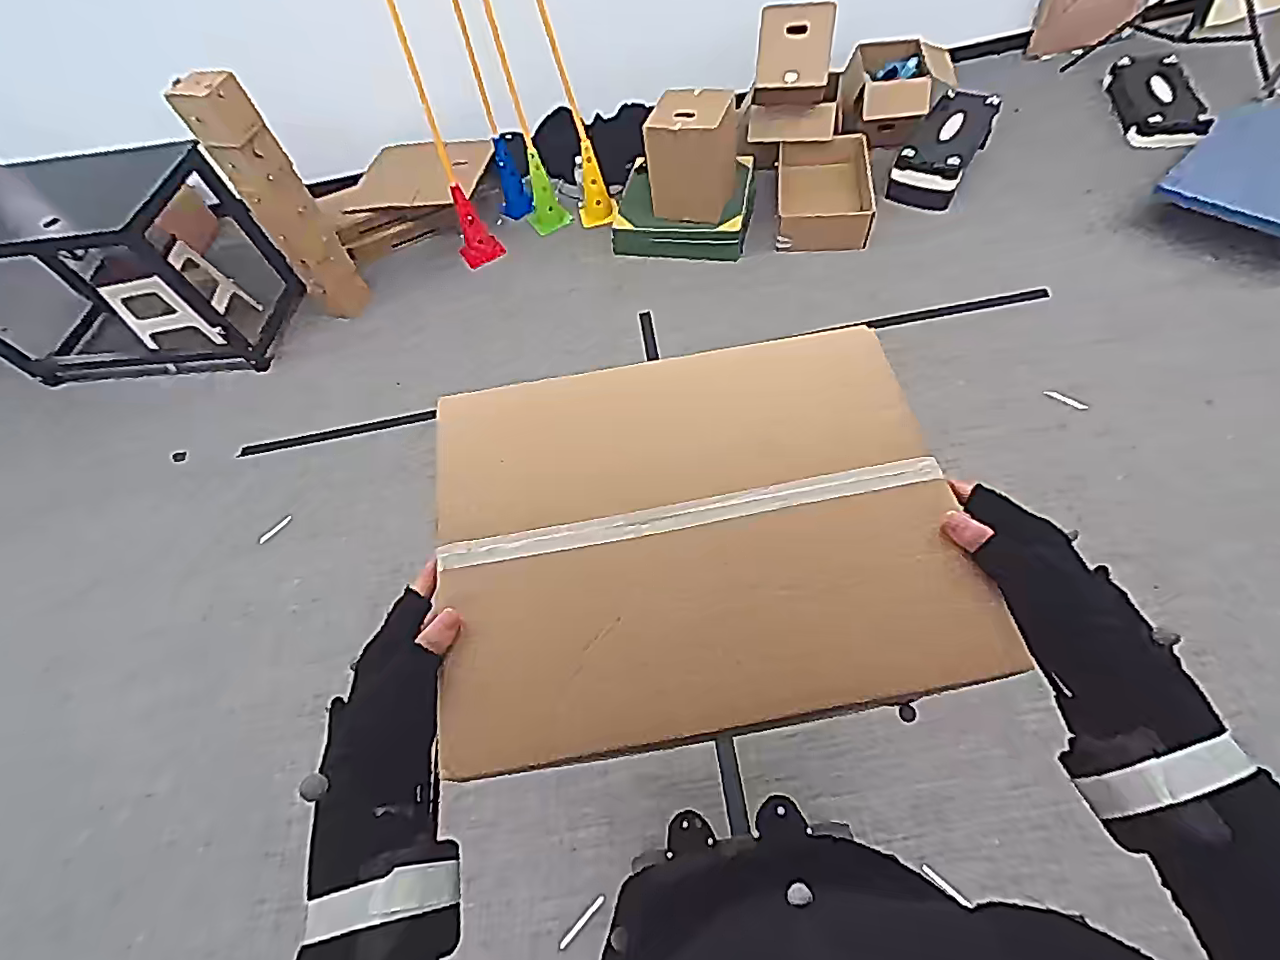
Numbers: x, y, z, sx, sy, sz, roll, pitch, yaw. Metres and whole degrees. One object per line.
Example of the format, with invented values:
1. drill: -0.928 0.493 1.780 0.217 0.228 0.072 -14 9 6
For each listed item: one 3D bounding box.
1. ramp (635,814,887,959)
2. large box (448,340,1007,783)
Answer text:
1. ramp: 0.305 1.240 1.031 0.509 0.206 0.991 -11 58 0
2. large box: 0.053 0.101 0.575 0.408 0.320 0.320 -10 63 -1
